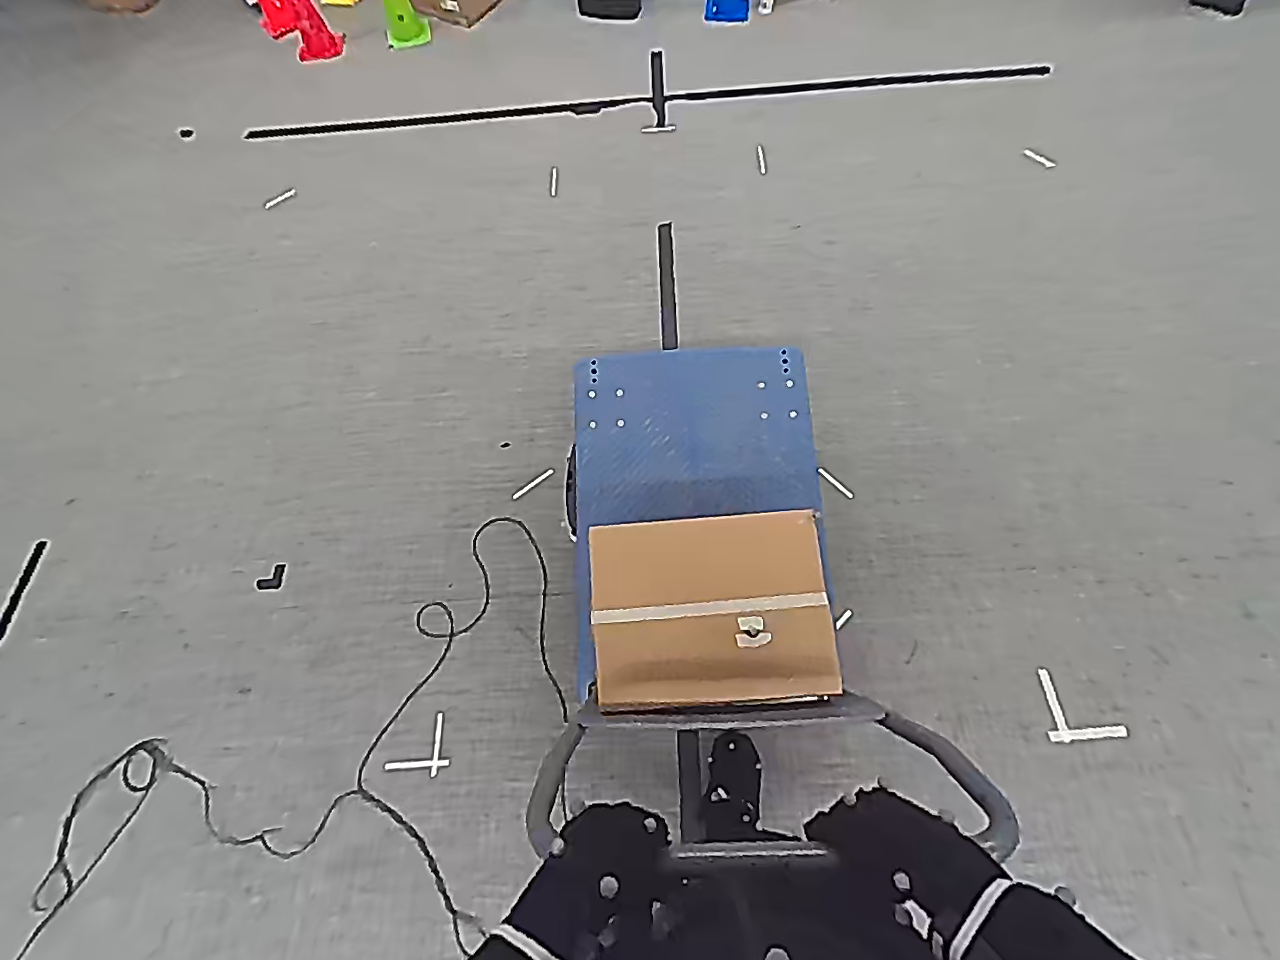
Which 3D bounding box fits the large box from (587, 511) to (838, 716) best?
[{"bbox_3d":[0.119,0.259,1.068,0.408,0.320,0.320,-5,77,0],"label":"large box"}]
